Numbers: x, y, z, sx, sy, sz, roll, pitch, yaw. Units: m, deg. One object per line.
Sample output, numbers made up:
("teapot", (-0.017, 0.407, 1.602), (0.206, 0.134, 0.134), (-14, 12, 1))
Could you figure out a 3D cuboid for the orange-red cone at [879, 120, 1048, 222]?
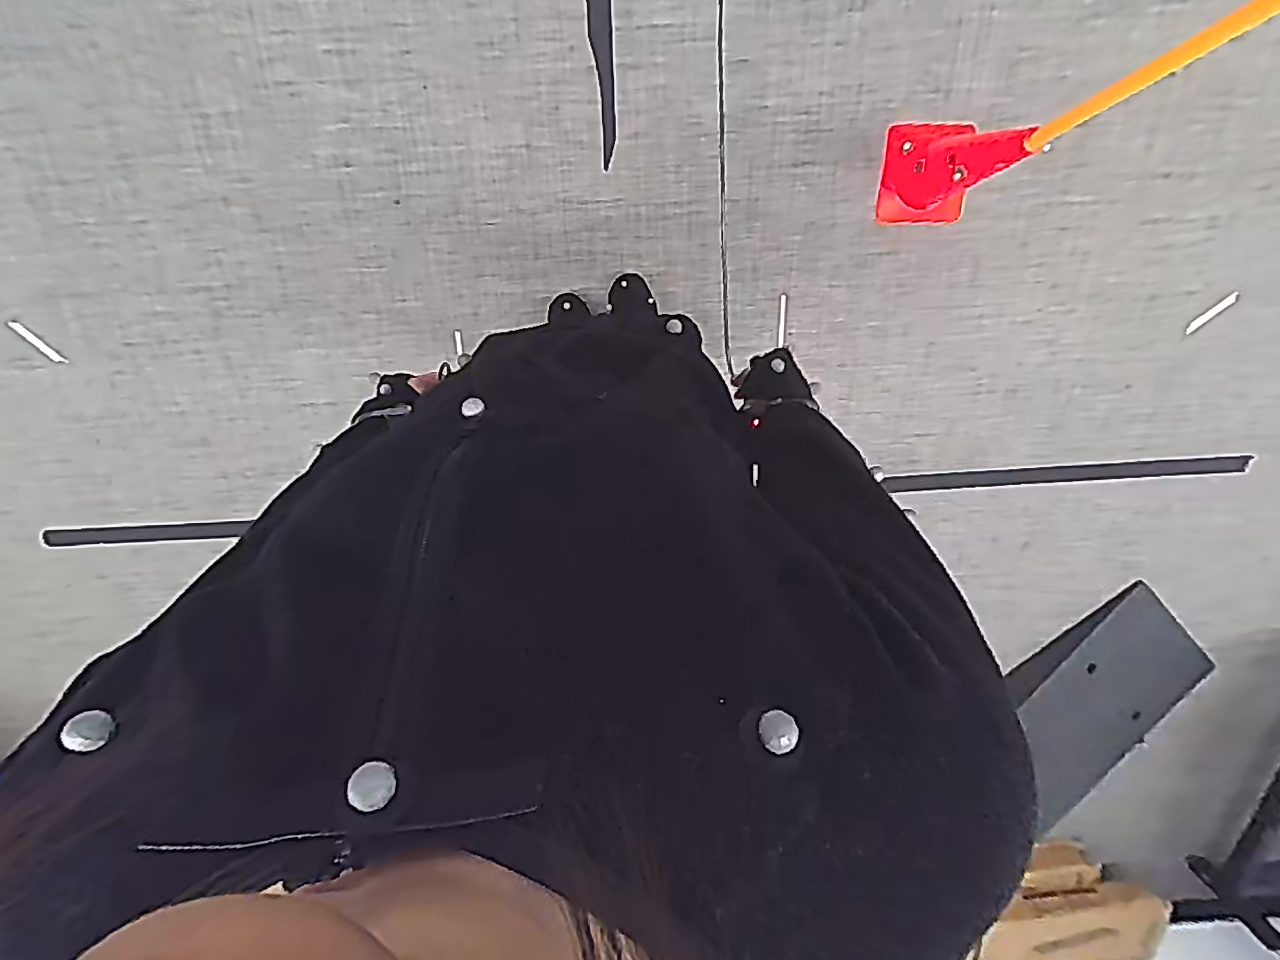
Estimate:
("orange-red cone", (0.648, -0.623, 1.048), (0.198, 0.360, 0.199), (1, 112, -2))
